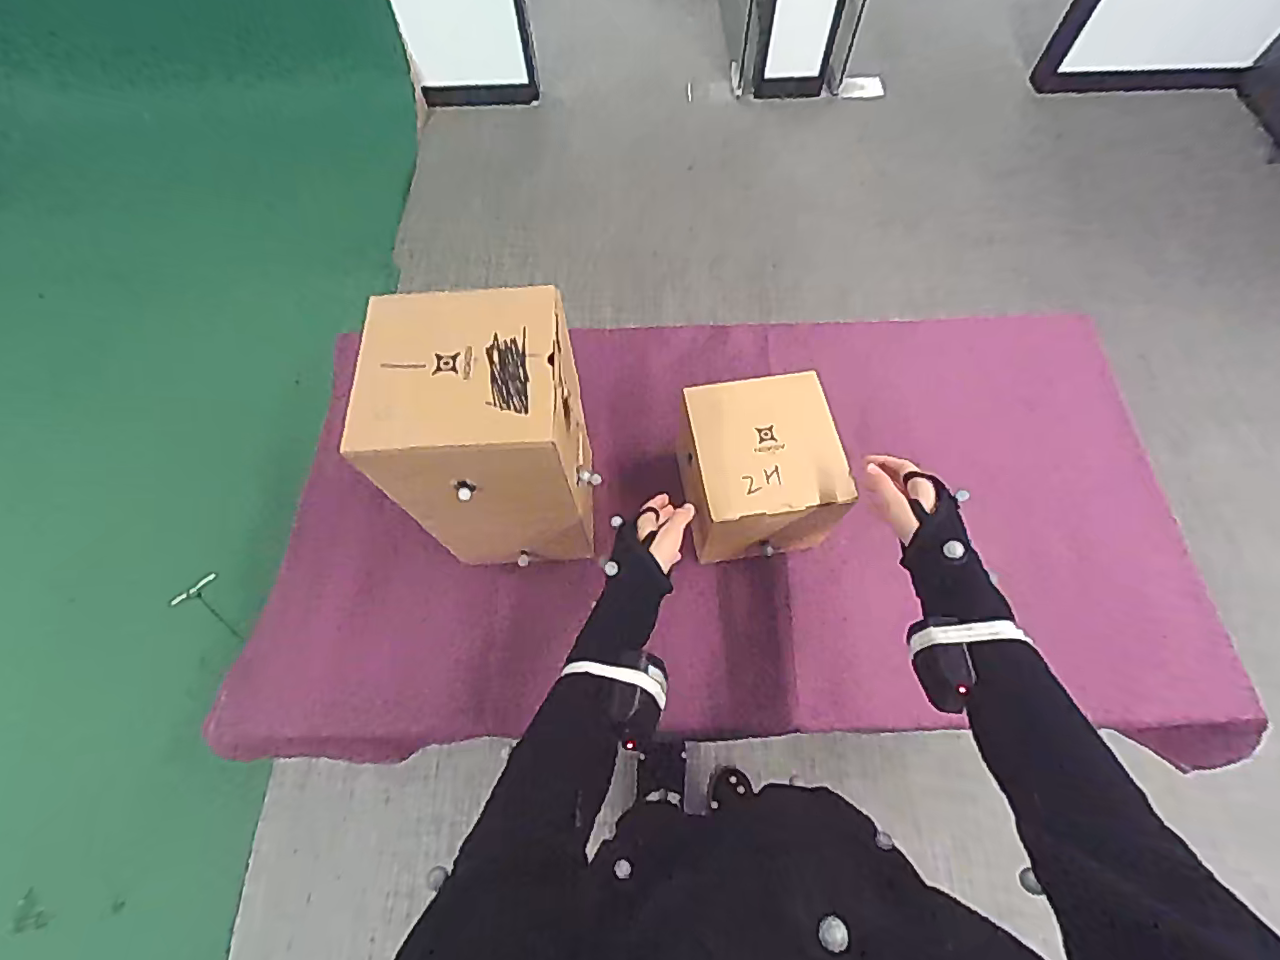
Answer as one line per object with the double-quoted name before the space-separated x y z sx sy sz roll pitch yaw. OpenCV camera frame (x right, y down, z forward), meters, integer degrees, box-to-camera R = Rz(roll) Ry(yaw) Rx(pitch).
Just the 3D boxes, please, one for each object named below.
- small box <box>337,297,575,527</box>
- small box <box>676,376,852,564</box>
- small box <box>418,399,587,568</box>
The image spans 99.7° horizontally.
"small box" -0.160 -0.058 0.541 0.179 0.176 0.168 -4 66 1
"small box" 0.141 -0.006 0.692 0.168 0.176 0.179 -8 67 -2
"small box" -0.159 0.010 0.692 0.179 0.176 0.168 -3 65 -1
